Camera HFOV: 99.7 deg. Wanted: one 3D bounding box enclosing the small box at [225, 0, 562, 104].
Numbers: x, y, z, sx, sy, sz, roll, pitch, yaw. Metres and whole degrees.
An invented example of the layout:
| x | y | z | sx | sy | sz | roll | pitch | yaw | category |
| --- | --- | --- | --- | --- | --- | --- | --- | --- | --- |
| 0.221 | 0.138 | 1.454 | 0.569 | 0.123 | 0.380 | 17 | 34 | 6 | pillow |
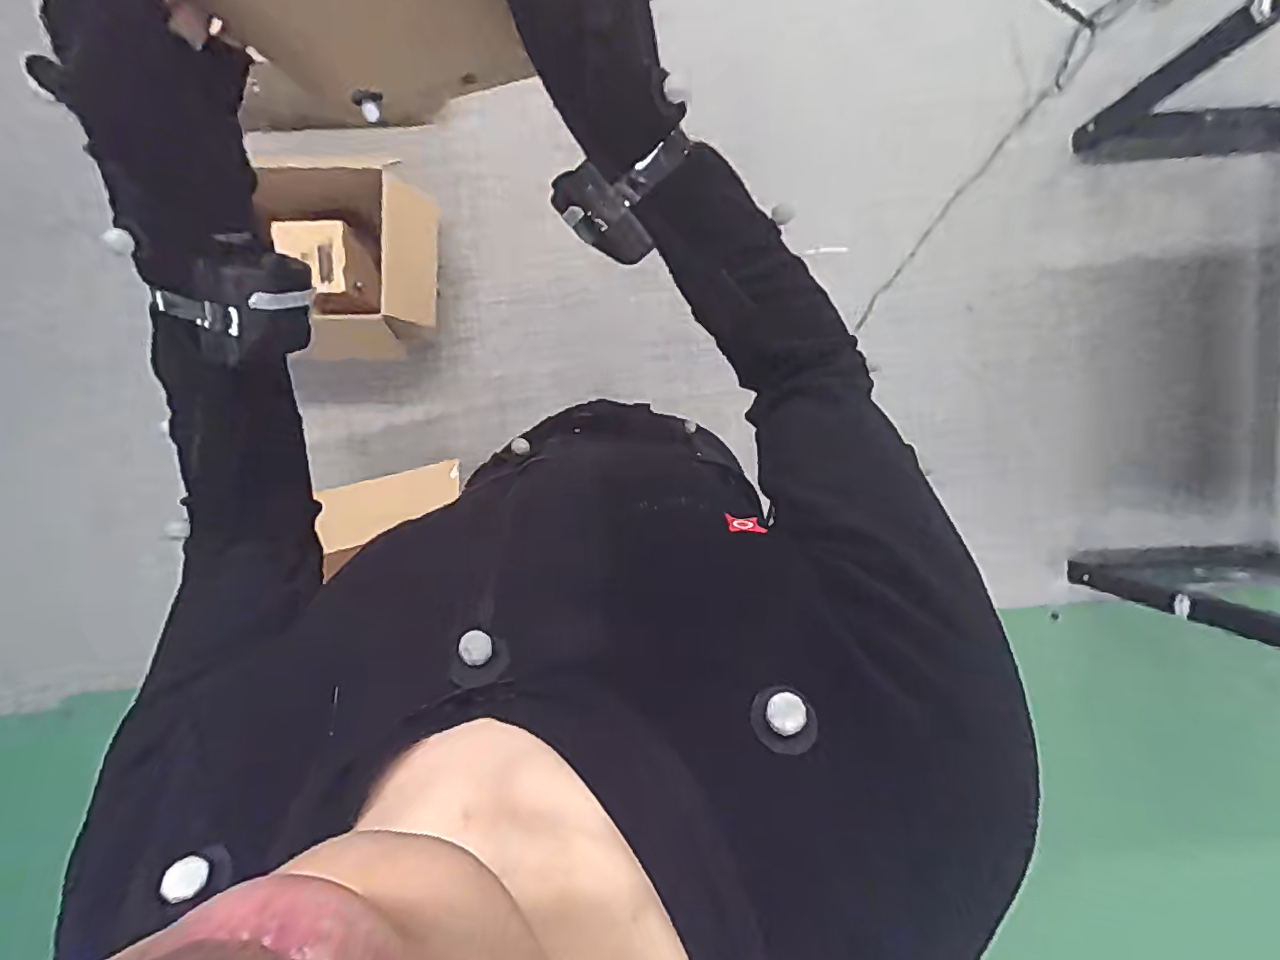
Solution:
| x | y | z | sx | sy | sz | roll | pitch | yaw | category |
| --- | --- | --- | --- | --- | --- | --- | --- | --- | --- |
| -0.152 | -0.357 | 0.315 | 0.168 | 0.176 | 0.179 | -12 | 99 | 3 | small box |
